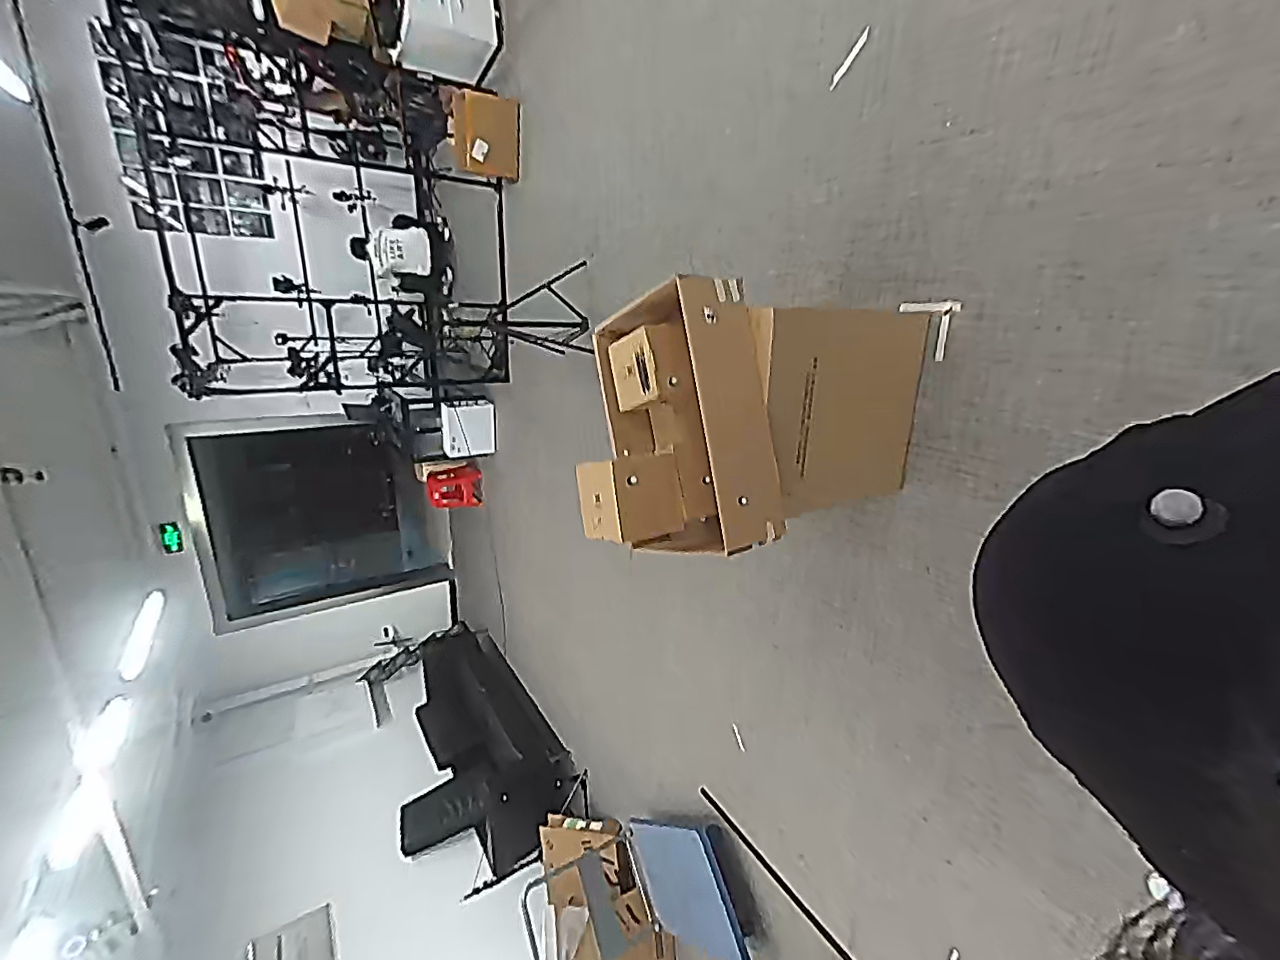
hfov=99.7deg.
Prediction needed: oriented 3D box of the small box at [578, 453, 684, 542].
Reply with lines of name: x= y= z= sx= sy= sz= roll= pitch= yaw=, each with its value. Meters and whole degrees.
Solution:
small box: x=-0.020 y=0.032 z=1.221 sx=0.168 sy=0.176 sz=0.179 roll=-1 pitch=98 yaw=57
